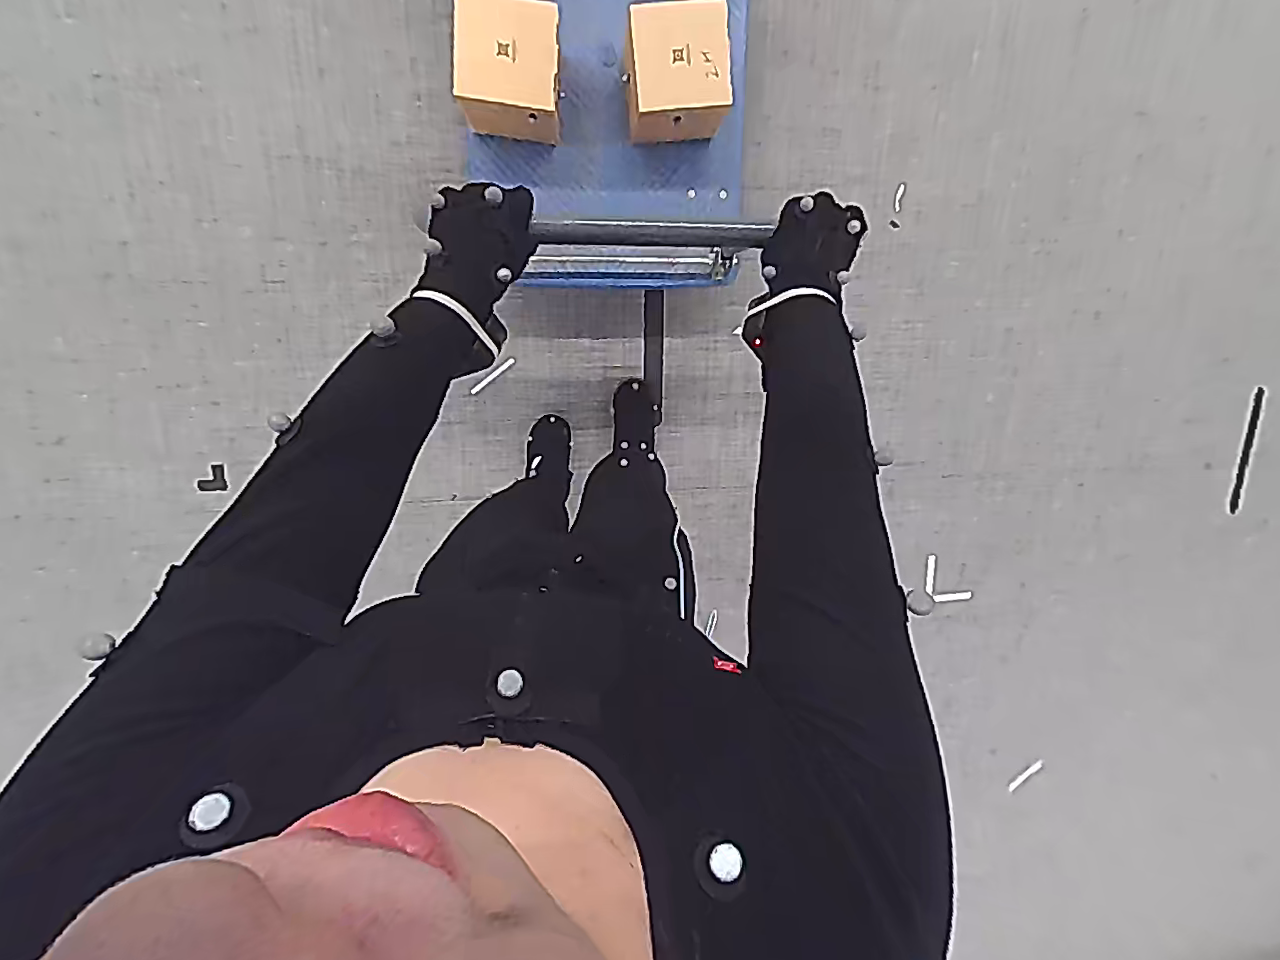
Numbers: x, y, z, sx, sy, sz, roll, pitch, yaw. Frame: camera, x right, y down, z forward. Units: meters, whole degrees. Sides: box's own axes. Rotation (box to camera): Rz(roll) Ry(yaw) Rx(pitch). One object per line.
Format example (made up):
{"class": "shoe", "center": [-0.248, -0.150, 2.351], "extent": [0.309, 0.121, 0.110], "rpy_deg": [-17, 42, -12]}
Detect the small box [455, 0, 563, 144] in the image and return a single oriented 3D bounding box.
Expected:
{"class": "small box", "center": [-0.238, -0.754, 1.010], "extent": [0.179, 0.176, 0.168], "rpy_deg": [3, 103, -8]}

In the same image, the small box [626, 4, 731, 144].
{"class": "small box", "center": [0.067, -0.767, 1.039], "extent": [0.179, 0.176, 0.168], "rpy_deg": [-7, 105, -4]}
